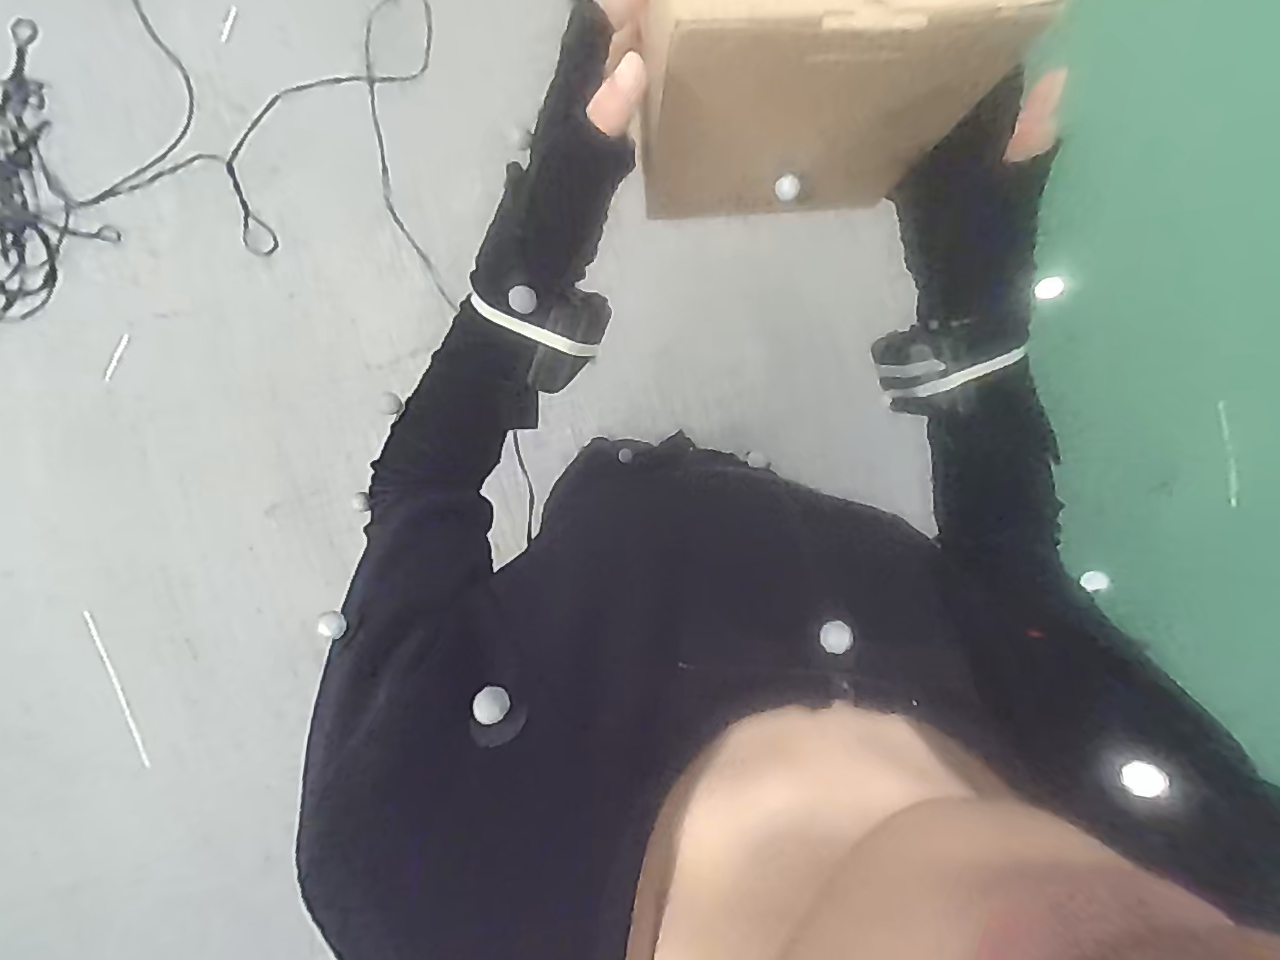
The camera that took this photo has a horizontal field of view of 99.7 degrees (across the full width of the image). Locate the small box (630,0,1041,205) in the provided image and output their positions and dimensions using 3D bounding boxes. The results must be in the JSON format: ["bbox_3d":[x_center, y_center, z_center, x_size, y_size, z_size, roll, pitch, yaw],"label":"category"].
[{"bbox_3d":[0.082,-0.282,0.295,0.168,0.176,0.179,-5,90,-2],"label":"small box"}]
